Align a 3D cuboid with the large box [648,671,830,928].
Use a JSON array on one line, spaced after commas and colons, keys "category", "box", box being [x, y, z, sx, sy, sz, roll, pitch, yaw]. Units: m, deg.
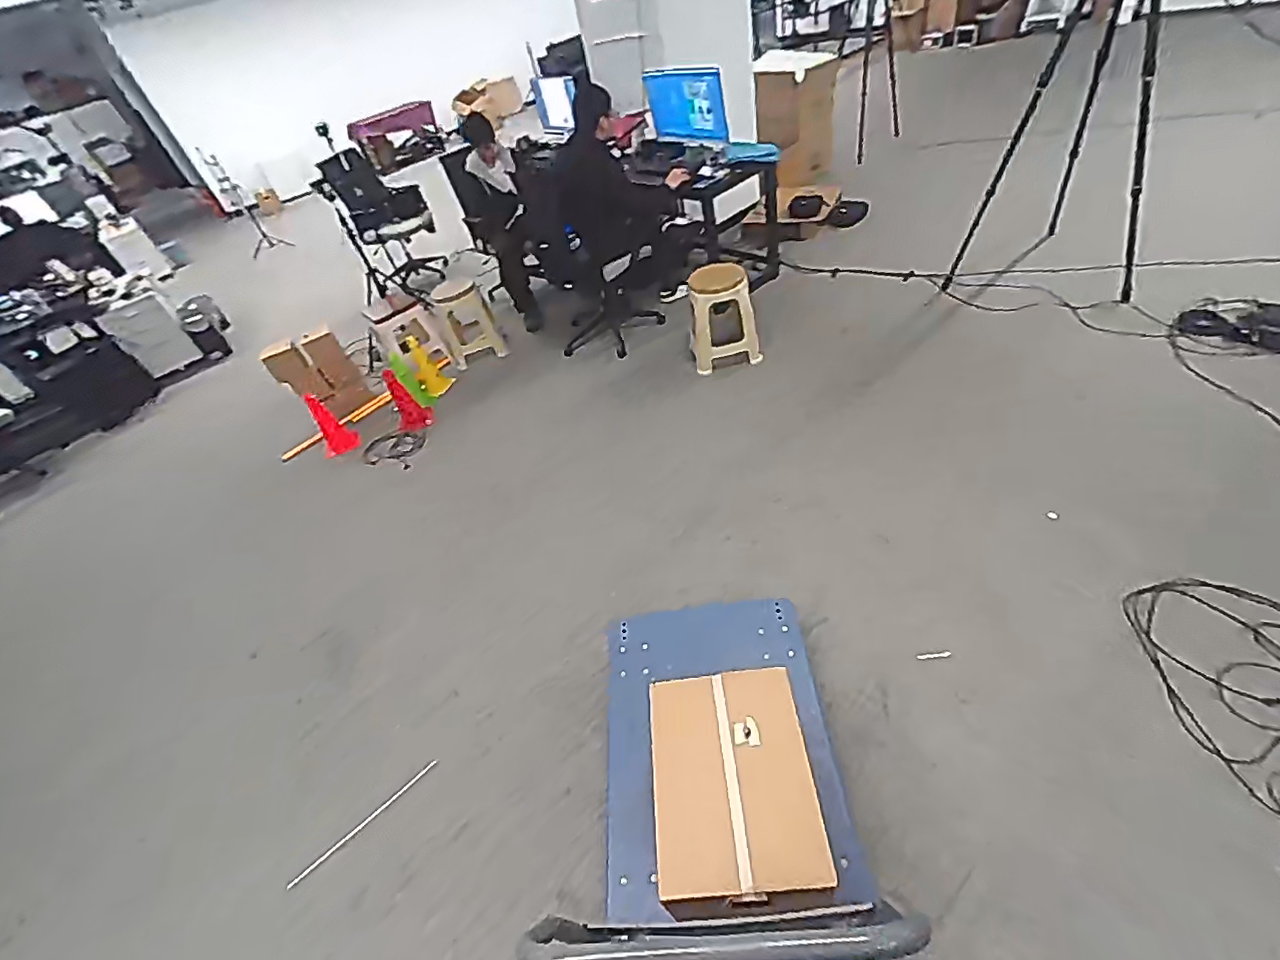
[{"category": "large box", "box": [0.206, 0.698, 1.195, 0.320, 0.320, 0.408, -9, 42, 6]}]
